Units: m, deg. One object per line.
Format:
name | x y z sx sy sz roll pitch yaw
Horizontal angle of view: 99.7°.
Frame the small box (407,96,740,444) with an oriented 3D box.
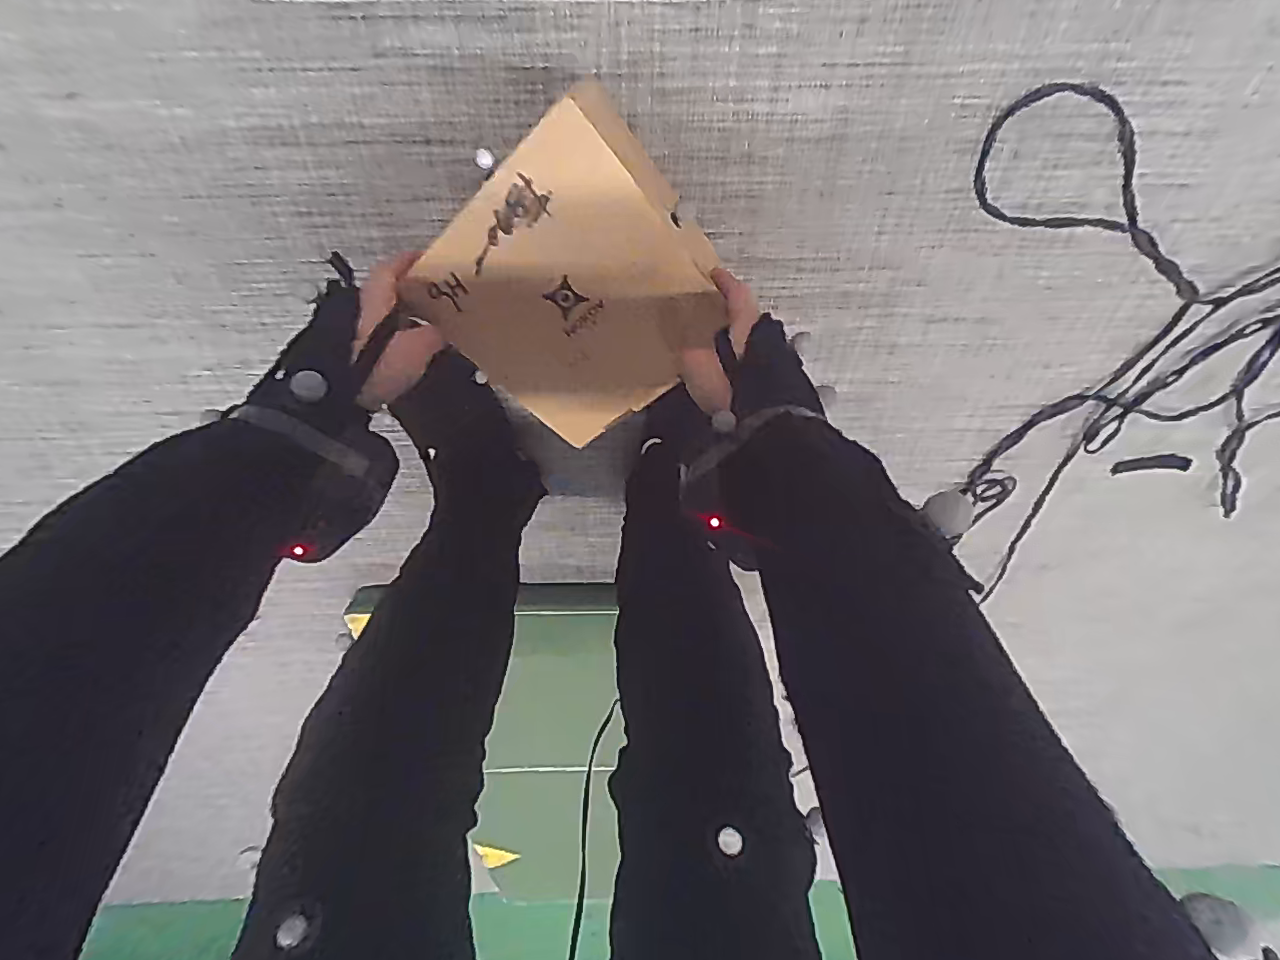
small box | -0.043 -0.170 0.437 0.168 0.176 0.179 -34 123 23
